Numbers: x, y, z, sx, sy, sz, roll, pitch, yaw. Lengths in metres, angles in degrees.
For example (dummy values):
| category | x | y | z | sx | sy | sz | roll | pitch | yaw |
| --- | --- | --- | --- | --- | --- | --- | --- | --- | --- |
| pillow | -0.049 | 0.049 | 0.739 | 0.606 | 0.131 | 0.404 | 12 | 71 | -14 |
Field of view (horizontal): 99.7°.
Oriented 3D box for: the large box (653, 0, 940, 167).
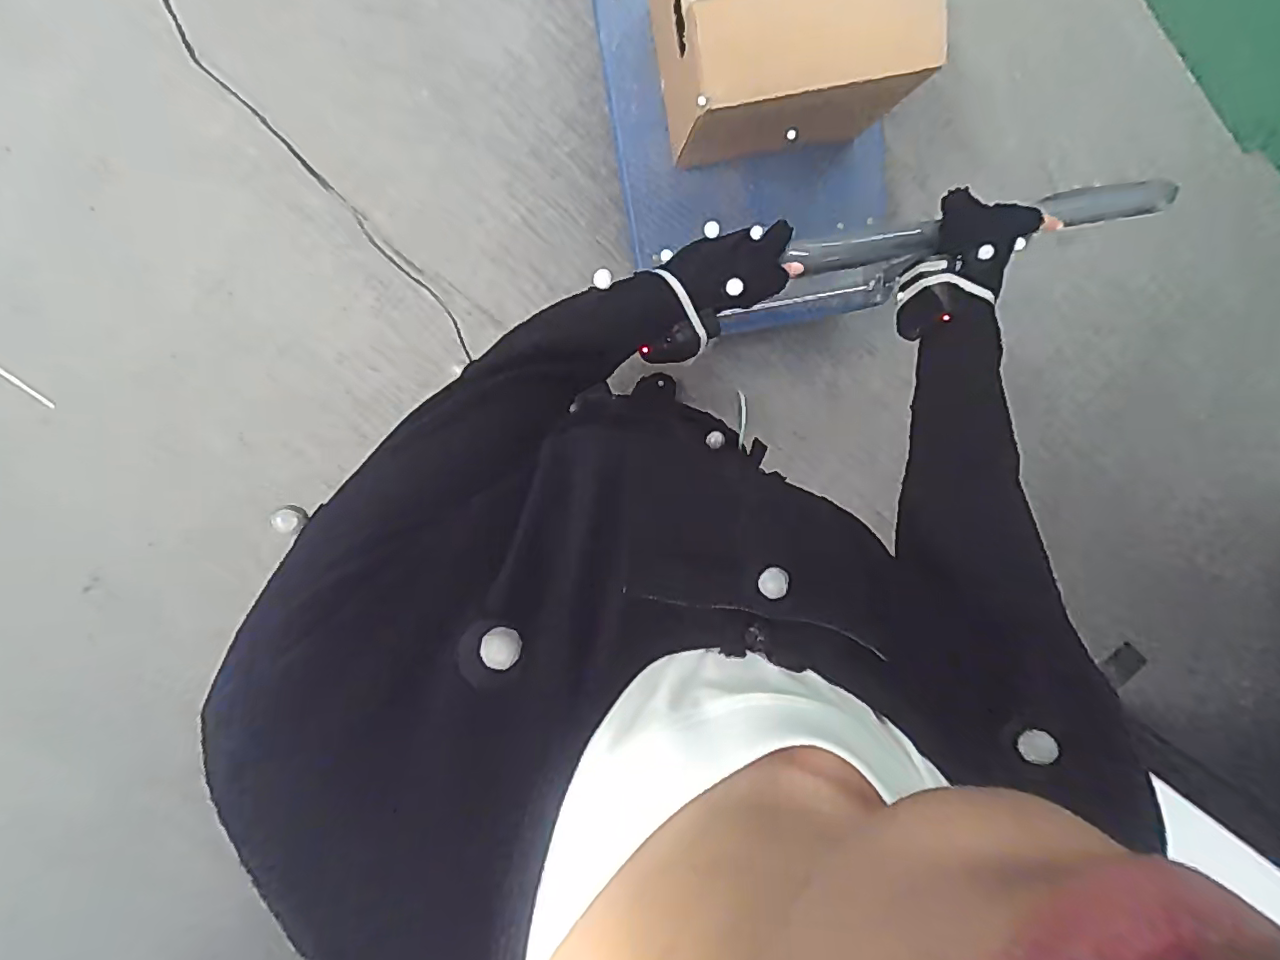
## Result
| category | x | y | z | sx | sy | sz | roll | pitch | yaw |
| --- | --- | --- | --- | --- | --- | --- | --- | --- | --- |
| large box | 0.259 | -0.816 | 0.984 | 0.408 | 0.320 | 0.320 | -12 | 104 | -1 |
